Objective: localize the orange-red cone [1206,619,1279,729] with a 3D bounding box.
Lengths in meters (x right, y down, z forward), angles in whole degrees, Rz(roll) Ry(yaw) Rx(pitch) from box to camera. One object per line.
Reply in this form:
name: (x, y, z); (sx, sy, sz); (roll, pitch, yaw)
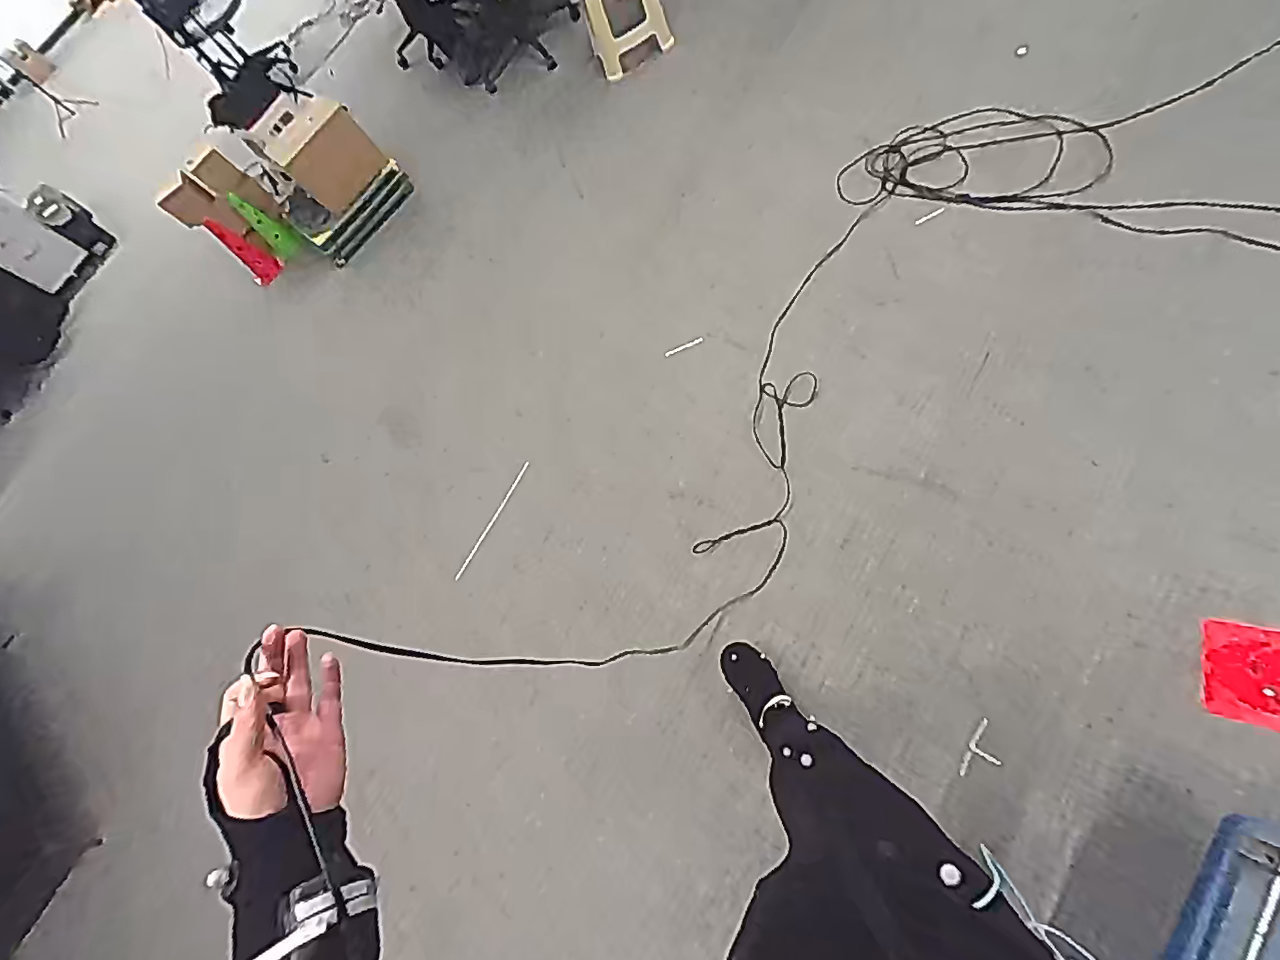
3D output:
orange-red cone: (1.210, 0.332, 0.936); (0.198, 0.360, 0.199); (10, 72, 24)
